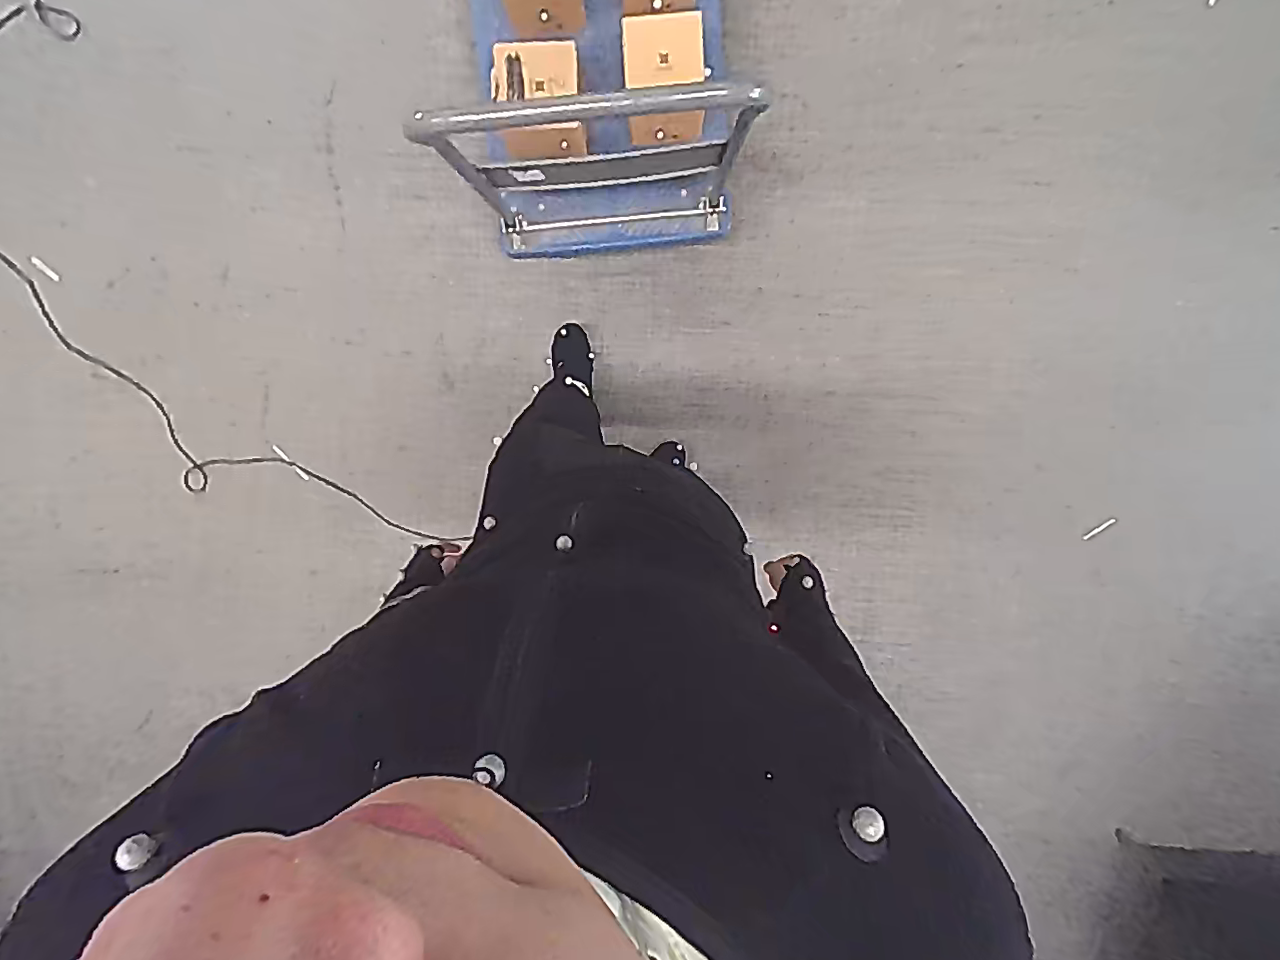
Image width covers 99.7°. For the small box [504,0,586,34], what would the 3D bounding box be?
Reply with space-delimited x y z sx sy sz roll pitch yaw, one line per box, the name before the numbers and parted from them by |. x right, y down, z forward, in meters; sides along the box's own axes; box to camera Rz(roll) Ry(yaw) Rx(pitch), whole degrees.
small box | -0.219 -1.124 1.184 0.168 0.176 0.179 -8 99 3

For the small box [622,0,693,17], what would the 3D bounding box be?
small box | 0.029 -1.160 1.168 0.168 0.176 0.179 -8 100 4

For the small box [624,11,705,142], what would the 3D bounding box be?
small box | 0.053 -0.895 1.213 0.168 0.176 0.179 -4 100 2
